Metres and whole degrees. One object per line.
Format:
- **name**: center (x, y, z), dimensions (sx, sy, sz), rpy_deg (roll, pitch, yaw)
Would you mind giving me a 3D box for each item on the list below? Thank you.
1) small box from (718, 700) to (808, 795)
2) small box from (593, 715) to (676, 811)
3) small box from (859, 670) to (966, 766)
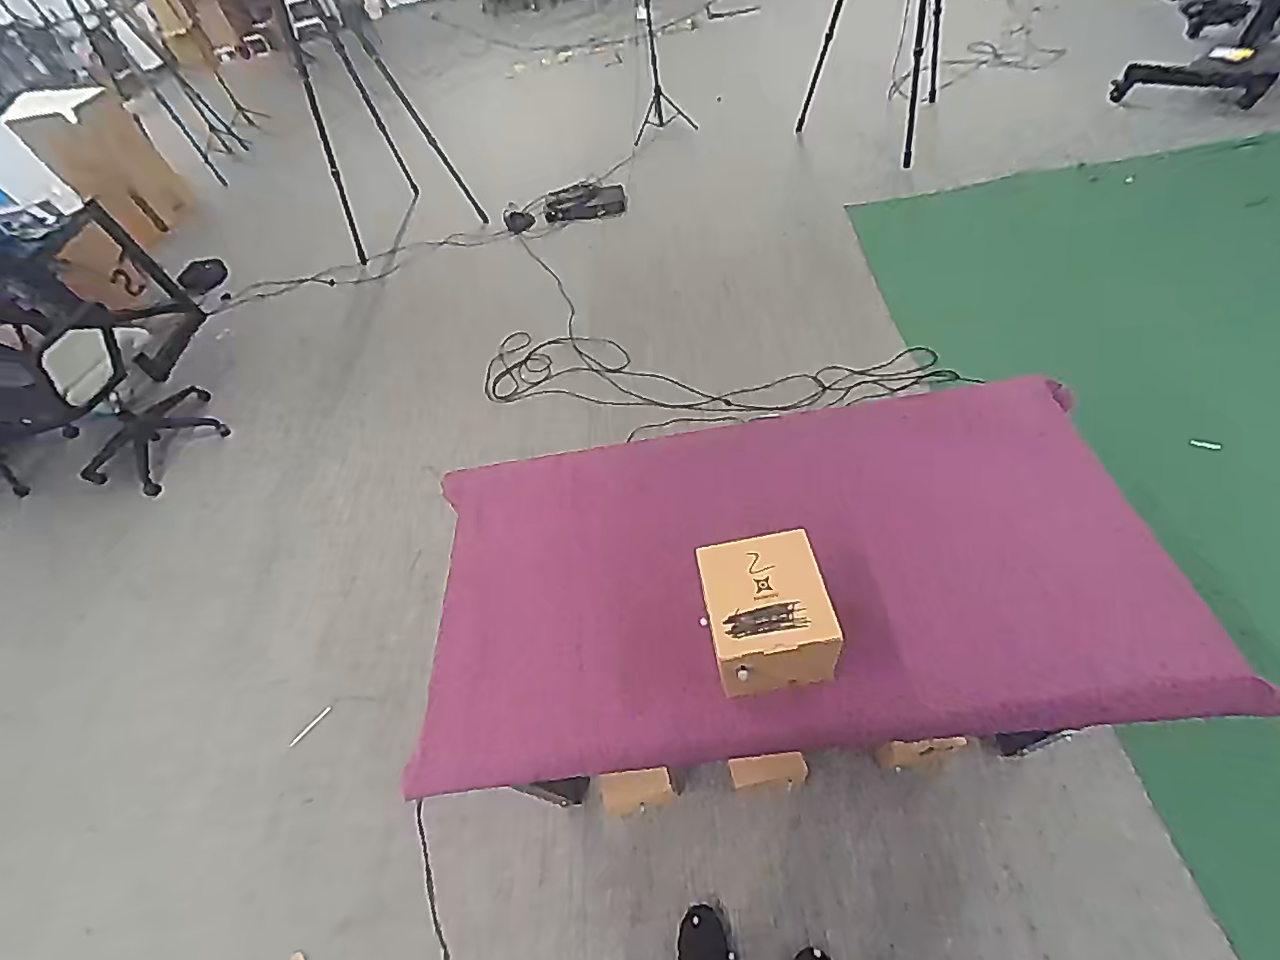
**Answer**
- **small box**: center (0.301, 0.672, 1.351), dimensions (0.179, 0.176, 0.168), rpy_deg (-14, 52, 2)
- **small box**: center (-0.011, 0.725, 1.375), dimensions (0.168, 0.176, 0.179), rpy_deg (-15, 52, 0)
- **small box**: center (0.661, 0.593, 1.334), dimensions (0.168, 0.176, 0.179), rpy_deg (-11, 52, 3)
